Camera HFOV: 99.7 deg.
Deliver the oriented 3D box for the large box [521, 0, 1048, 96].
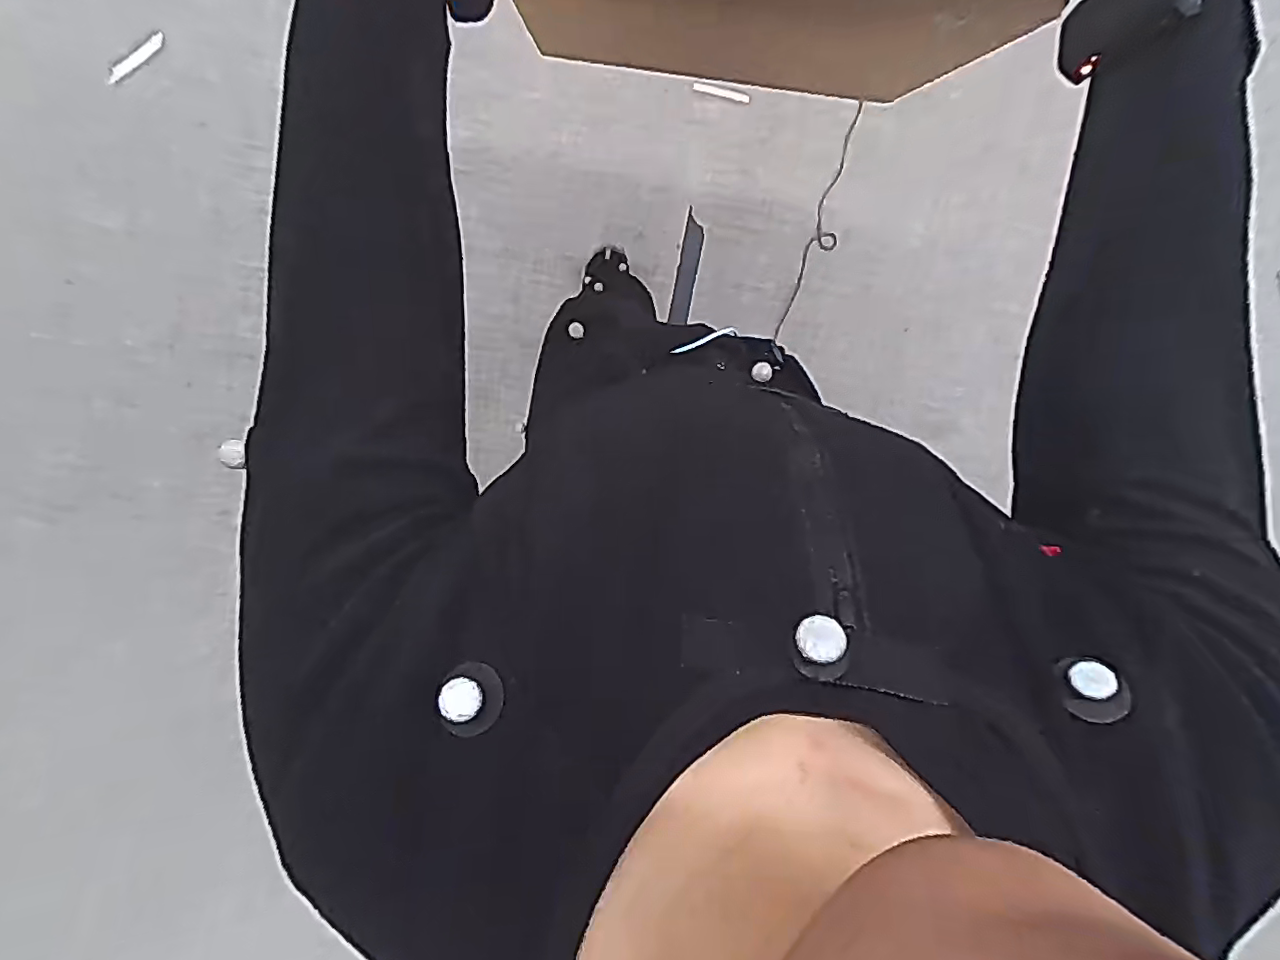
[{"bbox_3d":[0.104,-0.538,0.425,0.408,0.320,0.320,5,115,-4],"label":"large box"}]
